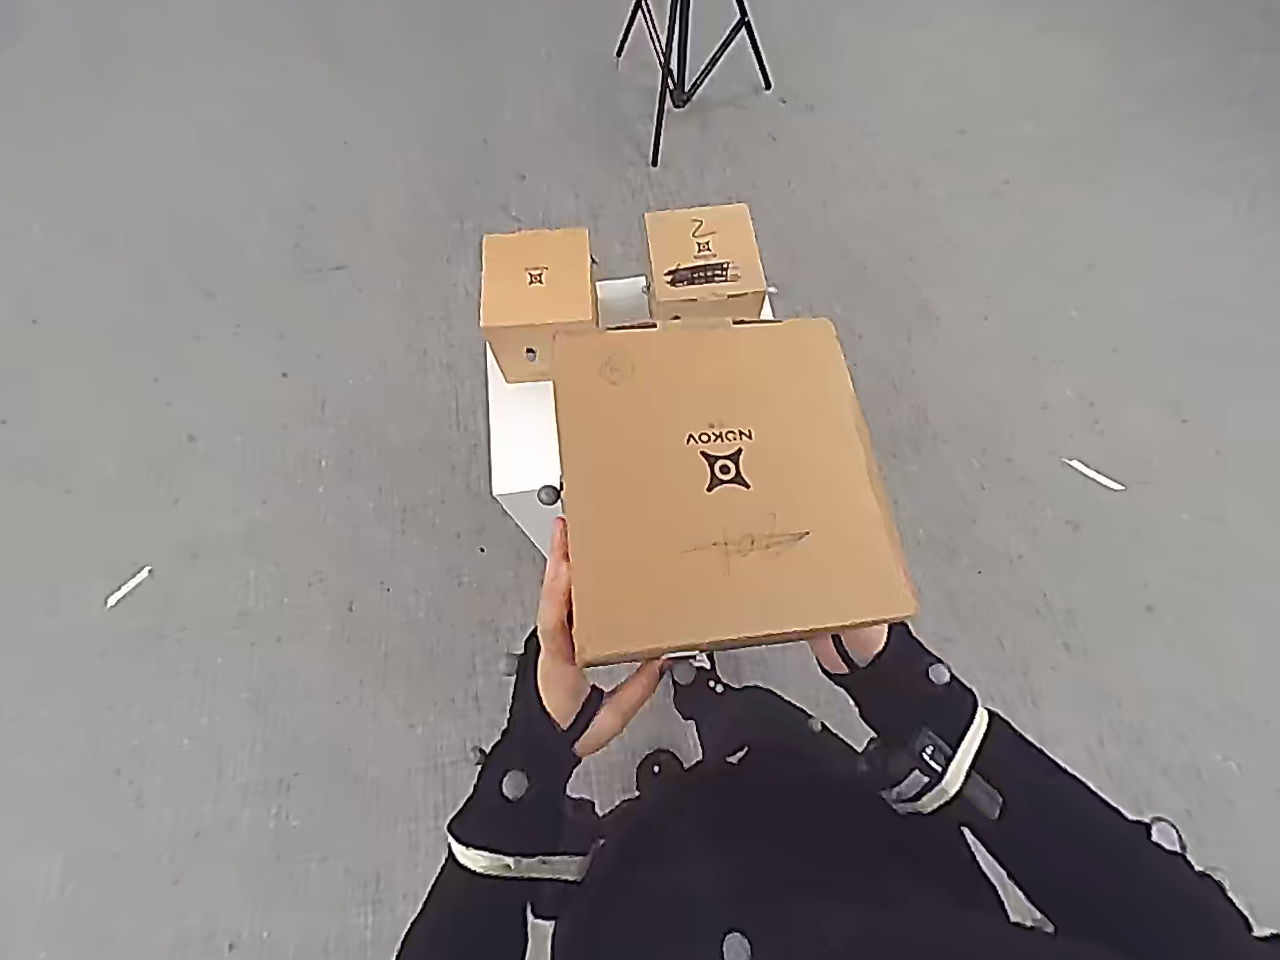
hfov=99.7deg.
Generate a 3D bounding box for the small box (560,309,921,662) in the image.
[{"bbox_3d":[0.037,0.015,0.351,0.168,0.176,0.179,-5,70,-8],"label":"small box"}]

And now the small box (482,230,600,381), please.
[{"bbox_3d":[-0.152,-0.274,0.884,0.168,0.176,0.179,-4,69,-1],"label":"small box"}]
